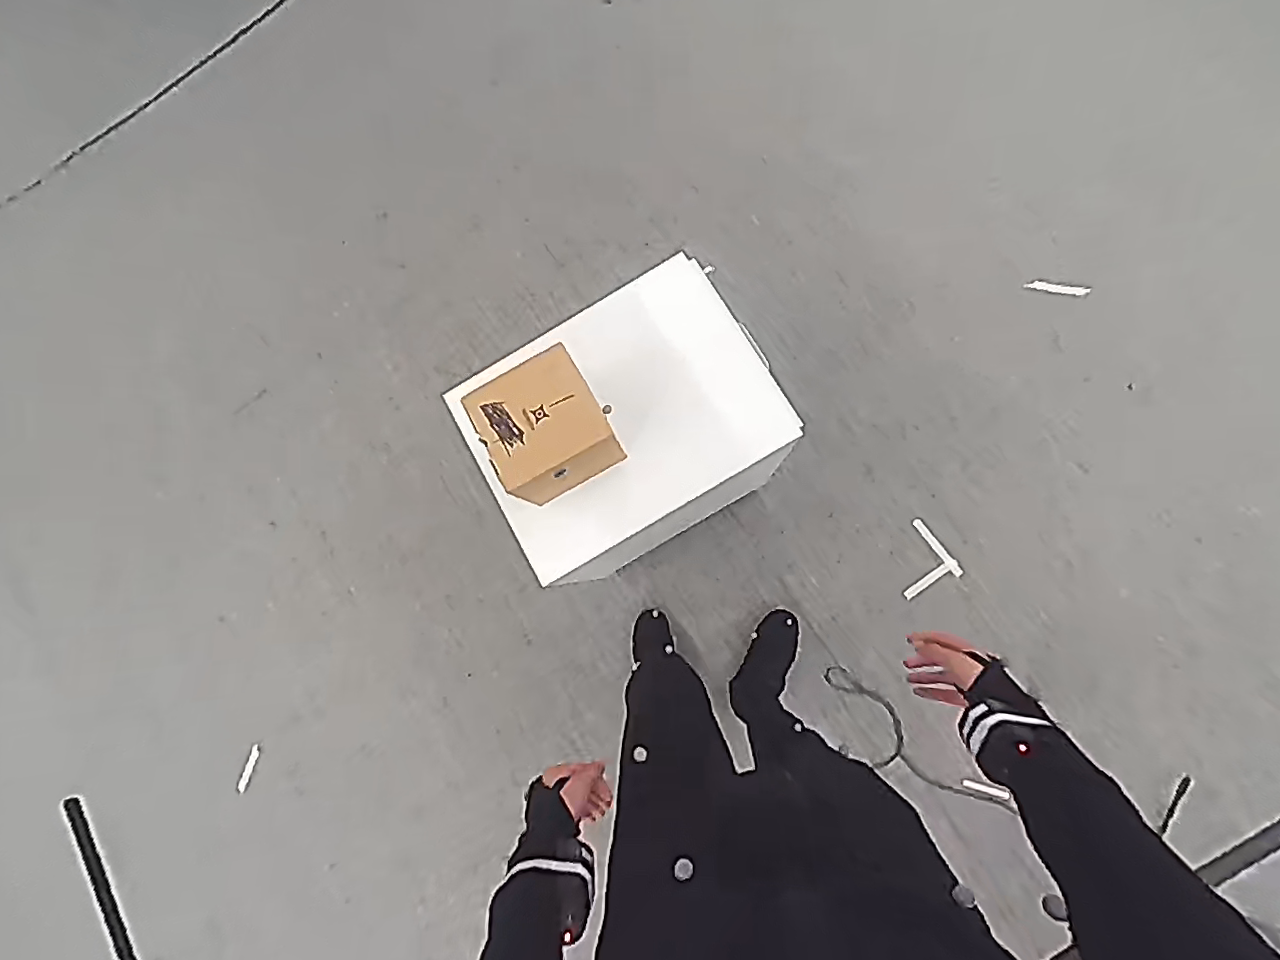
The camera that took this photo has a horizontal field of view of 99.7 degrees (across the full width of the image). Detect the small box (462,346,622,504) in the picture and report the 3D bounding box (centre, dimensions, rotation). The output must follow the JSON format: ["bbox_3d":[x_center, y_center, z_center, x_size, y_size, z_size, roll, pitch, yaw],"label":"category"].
[{"bbox_3d":[-0.146,-0.075,0.863,0.179,0.176,0.168,-29,79,0],"label":"small box"}]
